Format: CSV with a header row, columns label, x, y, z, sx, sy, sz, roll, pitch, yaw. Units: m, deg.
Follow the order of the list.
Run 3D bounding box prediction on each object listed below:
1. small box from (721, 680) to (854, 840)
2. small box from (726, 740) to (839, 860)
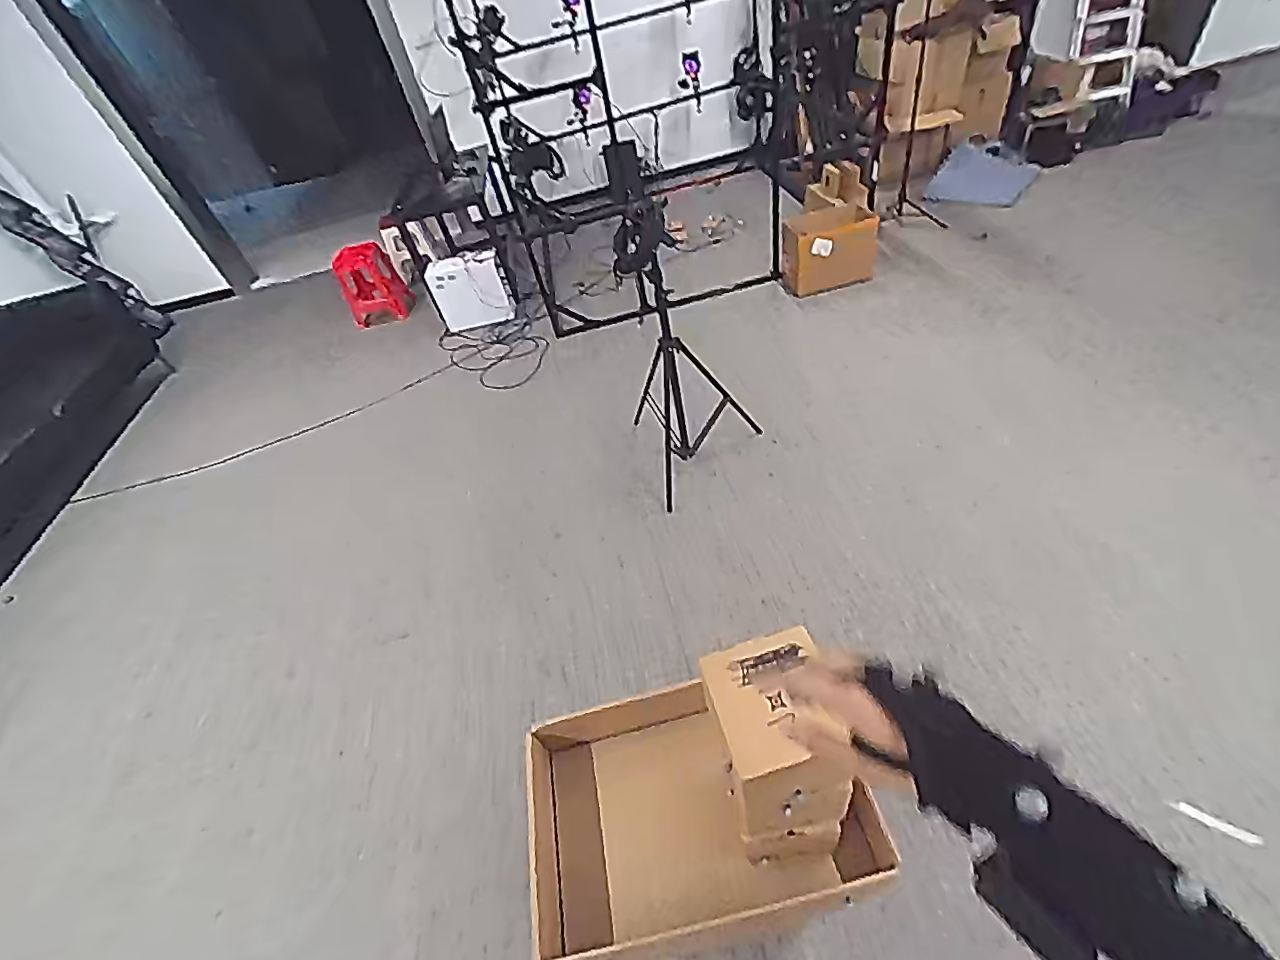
label,x,y,z,sx,sy,sz,roll,pitch,yaw
small box,0.237,0.466,0.900,0.168,0.176,0.179,-13,43,2
small box,0.260,0.588,1.007,0.168,0.176,0.179,-10,43,4
